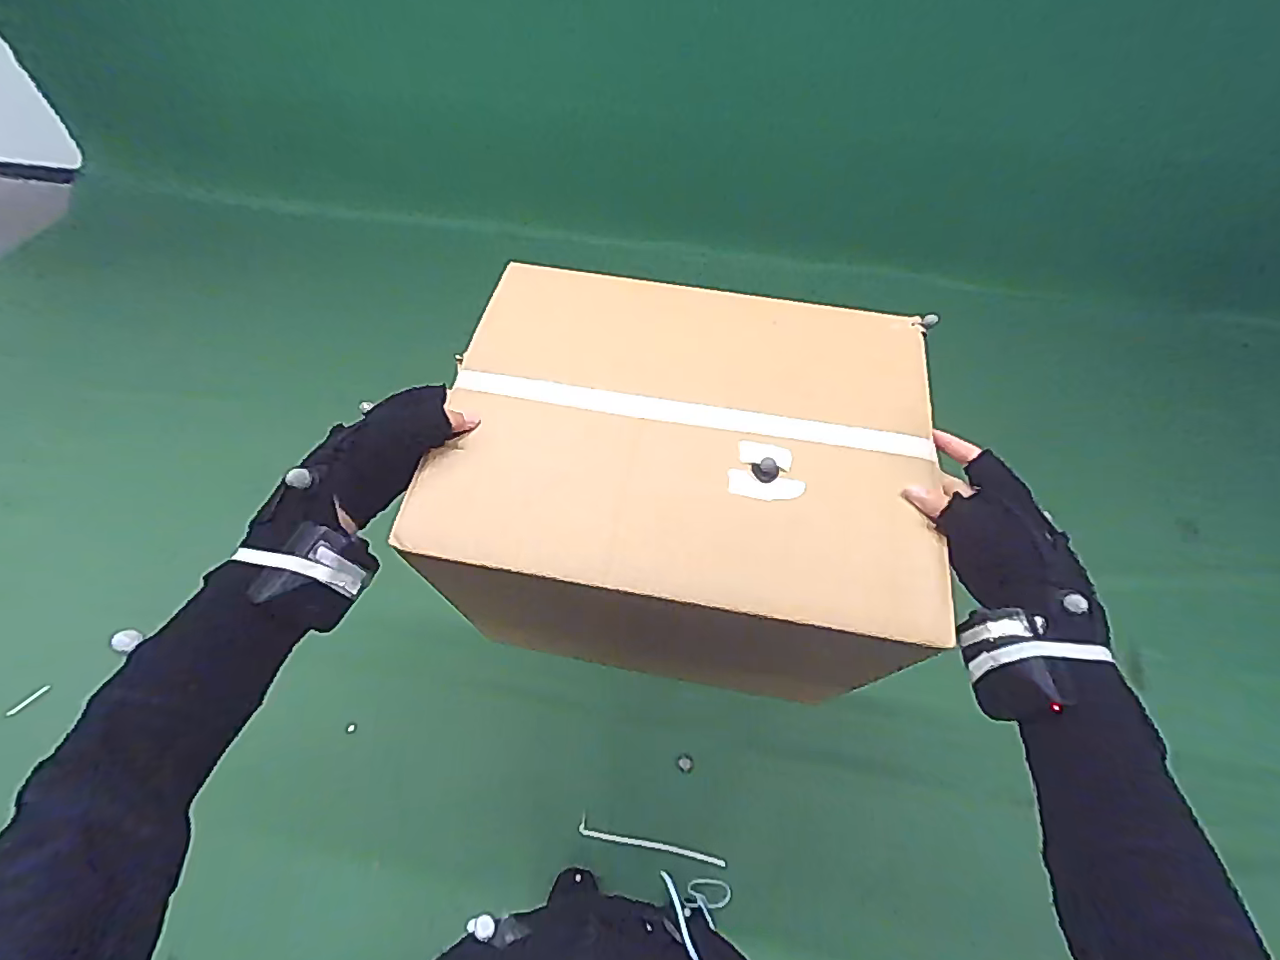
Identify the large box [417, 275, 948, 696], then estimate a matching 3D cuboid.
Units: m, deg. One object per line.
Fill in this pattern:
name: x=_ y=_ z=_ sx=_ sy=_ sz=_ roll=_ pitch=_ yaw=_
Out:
large box: x=0.043 y=0.023 z=0.596 sx=0.408 sy=0.320 sz=0.320 roll=10 pitch=61 yaw=4
